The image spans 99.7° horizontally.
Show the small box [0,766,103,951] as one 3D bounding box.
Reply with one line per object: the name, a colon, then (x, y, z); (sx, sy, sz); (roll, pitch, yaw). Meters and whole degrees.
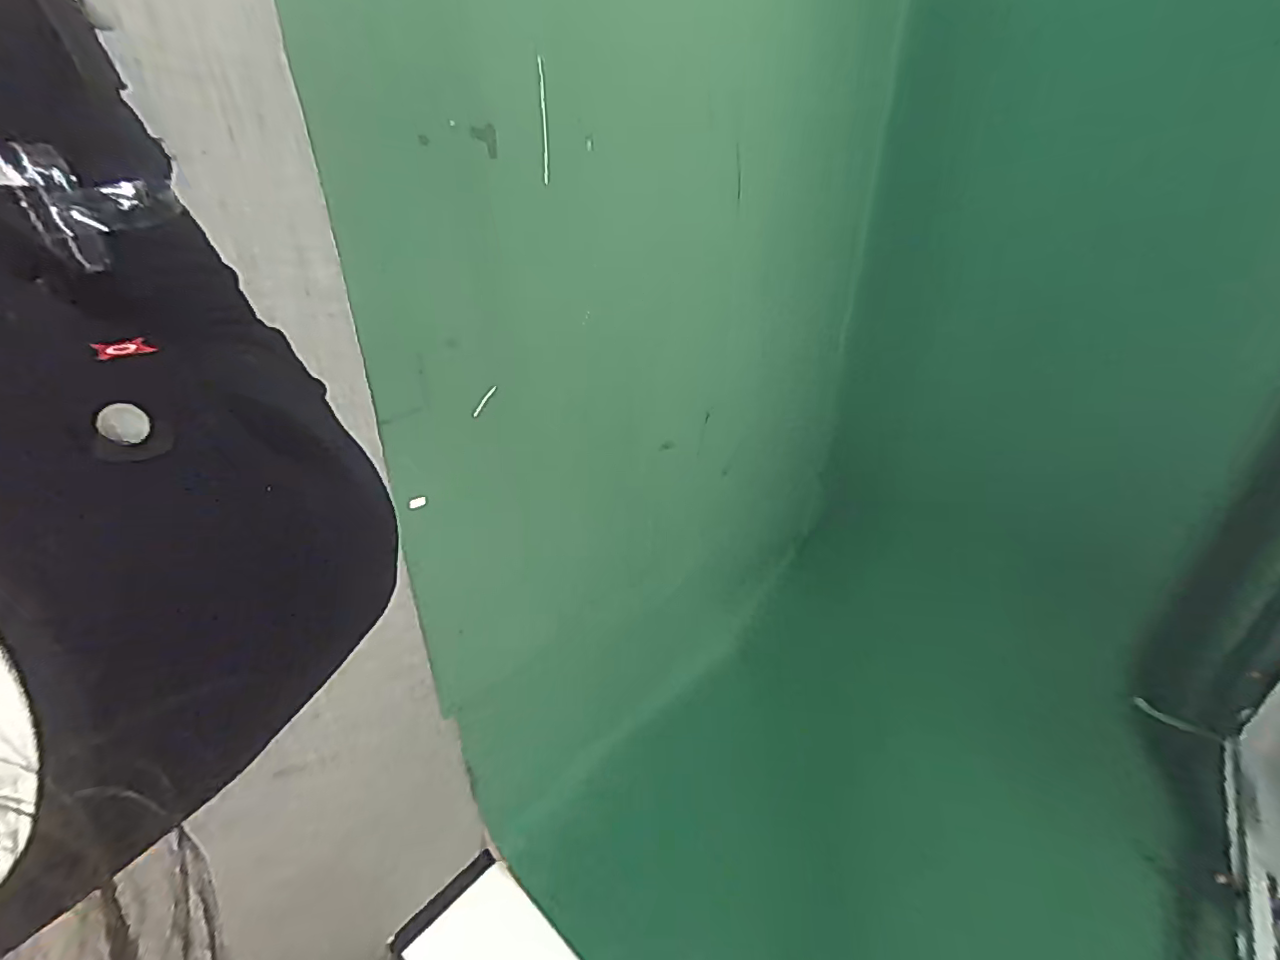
small box: (-1.016, 0.610, 0.861); (0.179, 0.176, 0.168); (-29, 129, -41)
